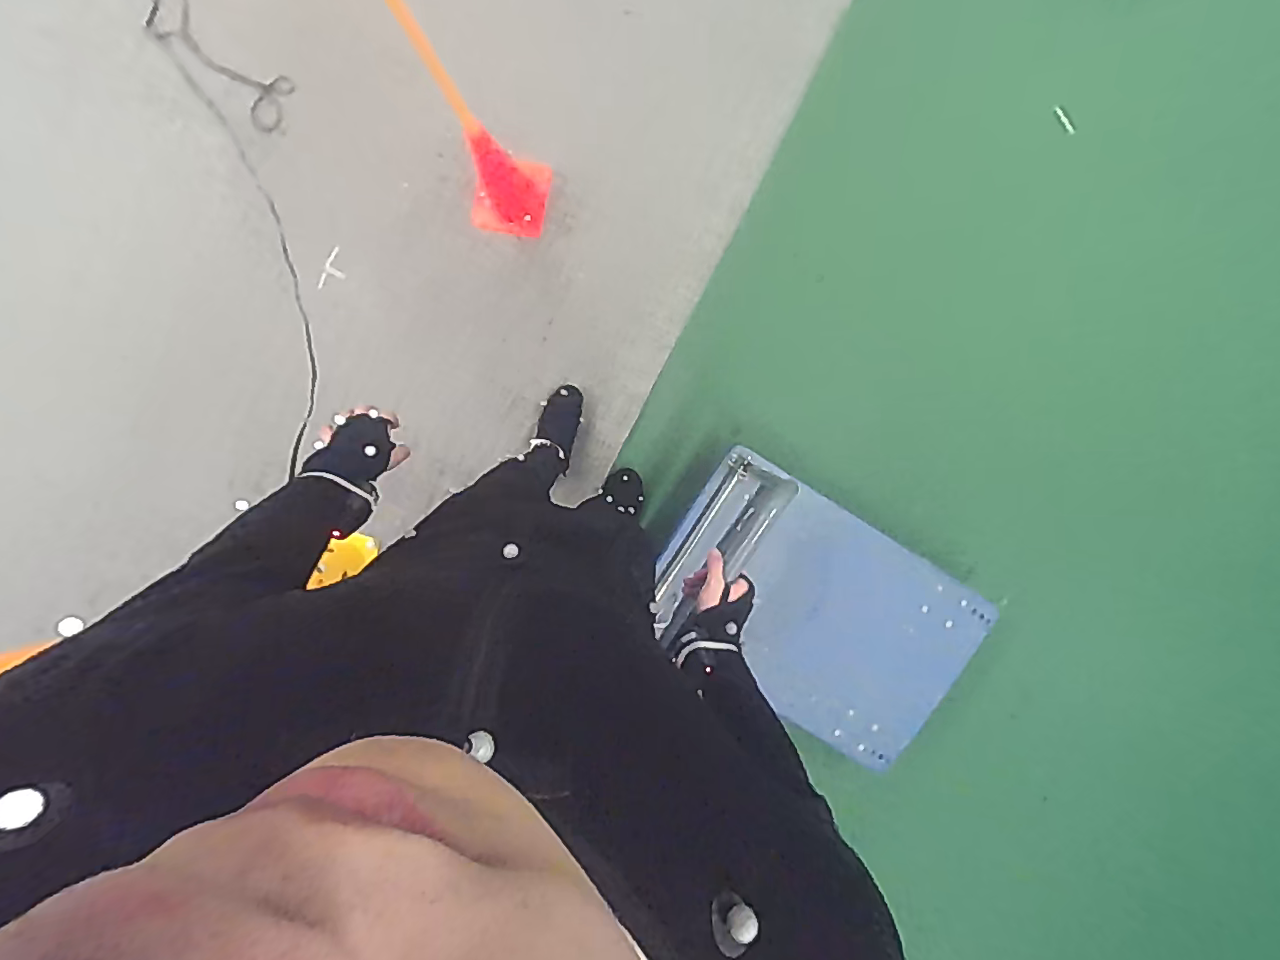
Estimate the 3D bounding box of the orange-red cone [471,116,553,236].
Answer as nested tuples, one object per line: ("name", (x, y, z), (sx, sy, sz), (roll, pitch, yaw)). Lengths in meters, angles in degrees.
("orange-red cone", (-0.354, -0.788, 1.346), (0.198, 0.360, 0.199), (13, 94, -2))
